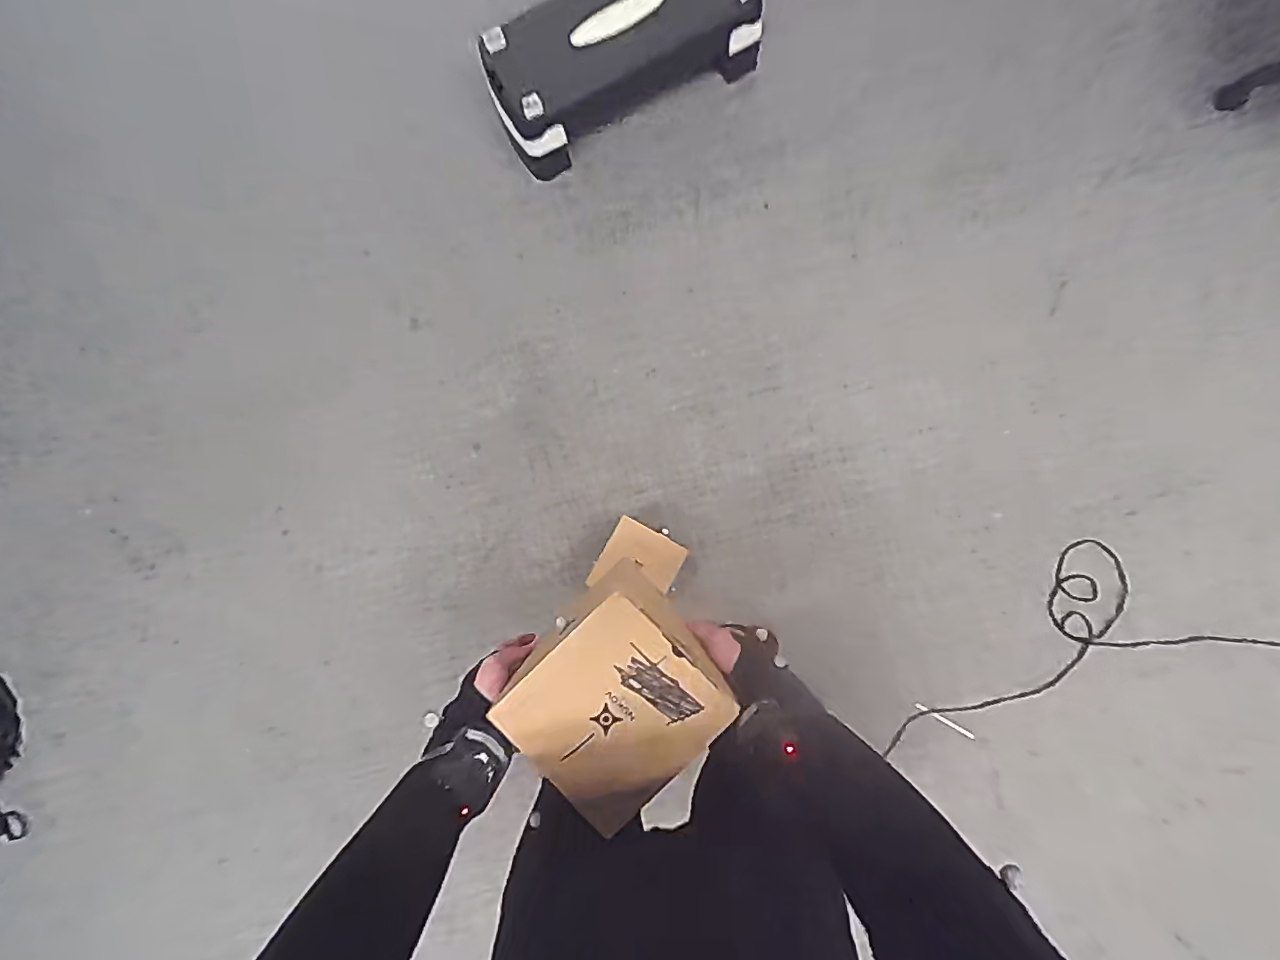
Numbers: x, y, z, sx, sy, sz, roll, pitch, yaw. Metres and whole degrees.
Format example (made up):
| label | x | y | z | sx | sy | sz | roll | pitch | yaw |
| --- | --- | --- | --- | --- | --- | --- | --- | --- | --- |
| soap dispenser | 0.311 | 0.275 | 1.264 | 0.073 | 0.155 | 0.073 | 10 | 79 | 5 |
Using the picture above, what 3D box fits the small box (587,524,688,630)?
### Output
| label | x | y | z | sx | sy | sz | roll | pitch | yaw |
| --- | --- | --- | --- | --- | --- | --- | --- | --- | --- |
| small box | 0.002 | 0.220 | 1.248 | 0.168 | 0.176 | 0.179 | 28 | 85 | 7 |
